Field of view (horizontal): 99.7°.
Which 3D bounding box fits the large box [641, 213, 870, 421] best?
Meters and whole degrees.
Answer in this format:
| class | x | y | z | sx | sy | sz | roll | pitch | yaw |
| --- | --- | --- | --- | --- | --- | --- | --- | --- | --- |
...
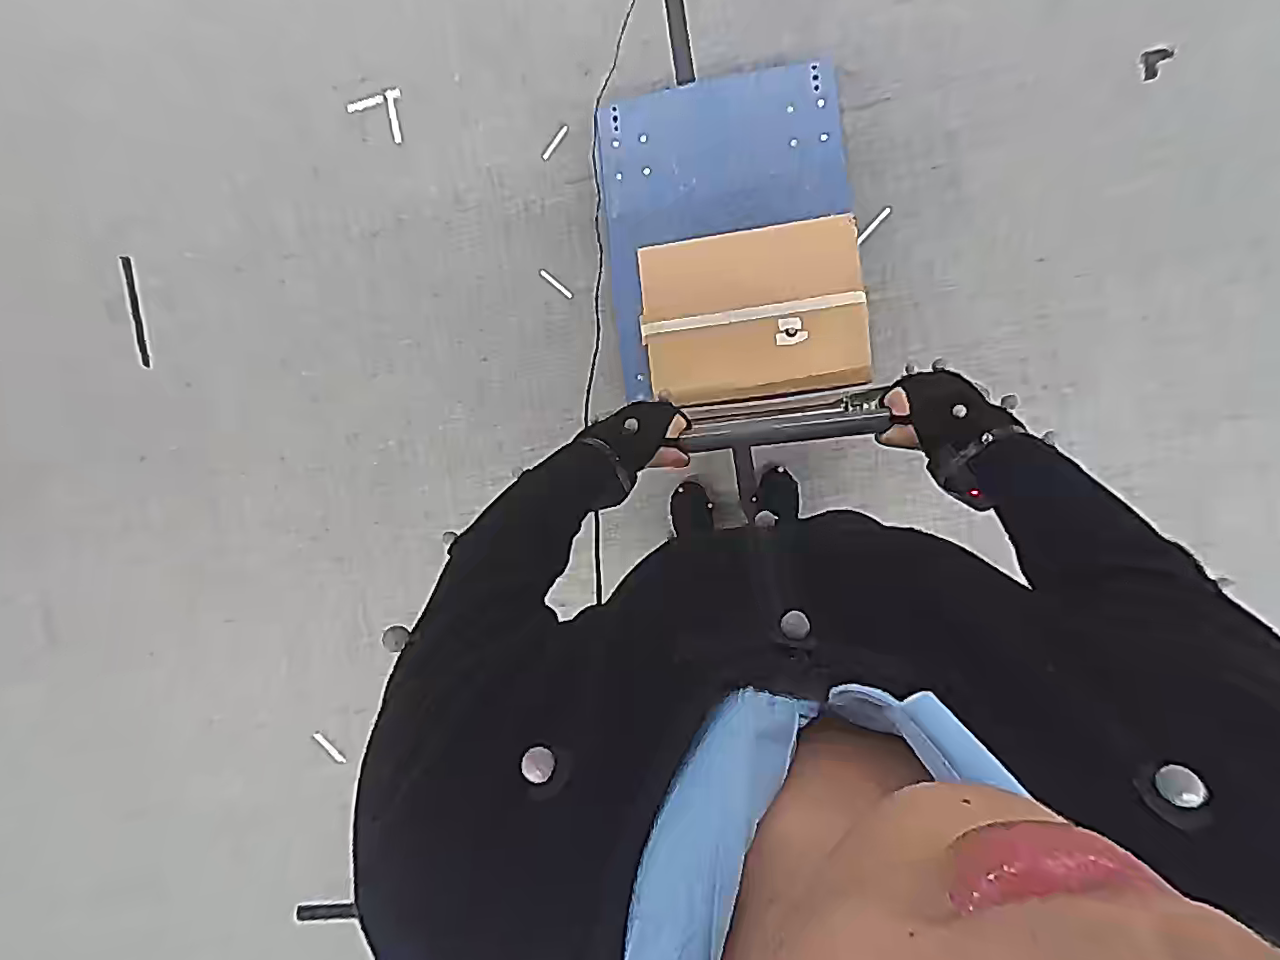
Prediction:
| class | x | y | z | sx | sy | sz | roll | pitch | yaw |
| --- | --- | --- | --- | --- | --- | --- | --- | --- | --- |
| large box | 0.233 | -0.320 | 1.173 | 0.408 | 0.320 | 0.320 | -7 | 91 | 8 |
